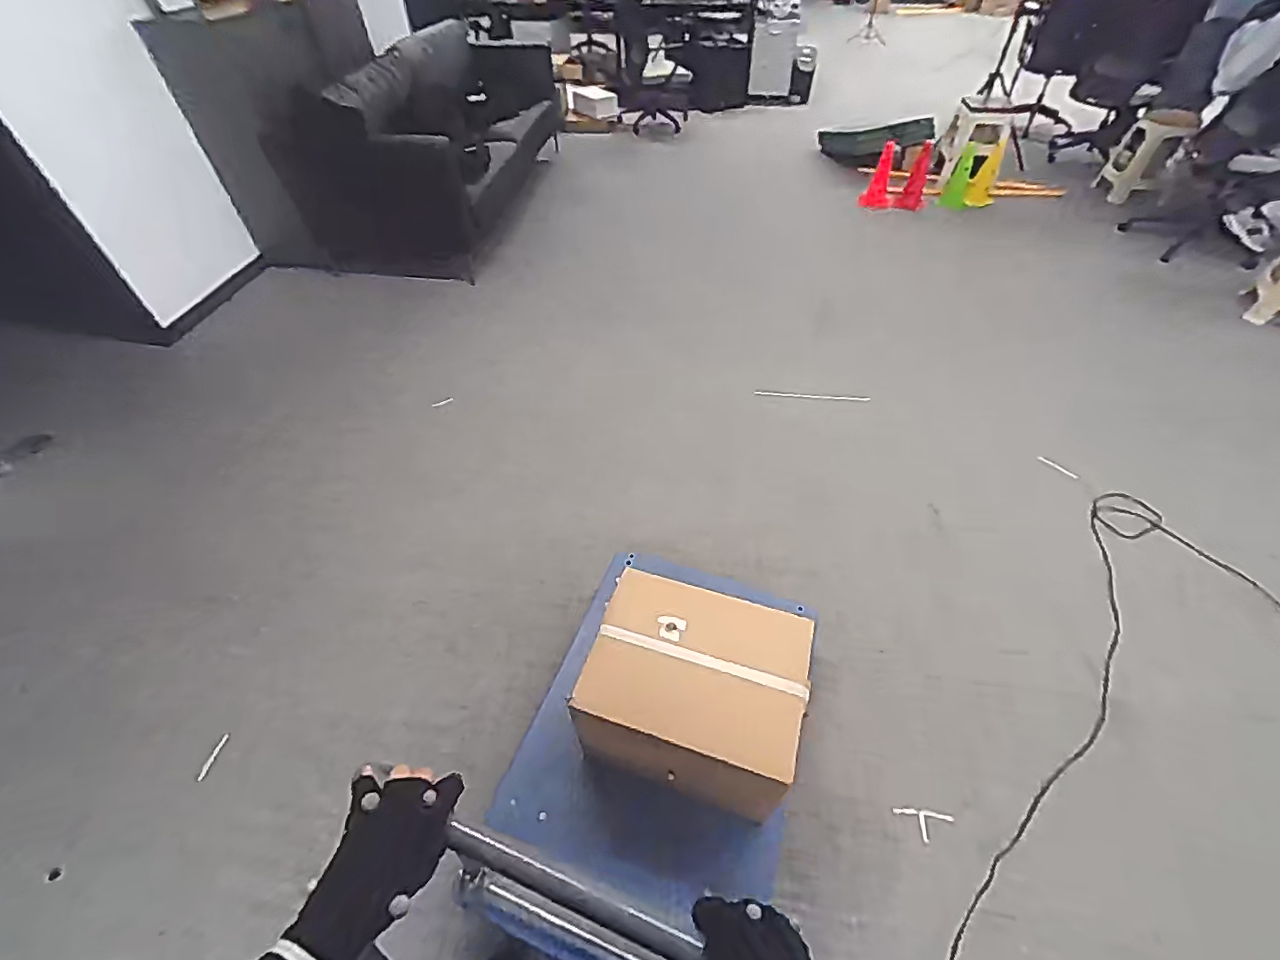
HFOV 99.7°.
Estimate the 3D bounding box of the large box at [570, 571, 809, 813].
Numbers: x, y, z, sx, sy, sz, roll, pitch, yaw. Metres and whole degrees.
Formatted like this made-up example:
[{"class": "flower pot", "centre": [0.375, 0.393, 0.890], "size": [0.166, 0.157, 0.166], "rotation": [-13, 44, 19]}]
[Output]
[{"class": "large box", "centre": [0.113, 0.445, 1.145], "size": [0.408, 0.320, 0.320], "rotation": [13, 49, 15]}]
